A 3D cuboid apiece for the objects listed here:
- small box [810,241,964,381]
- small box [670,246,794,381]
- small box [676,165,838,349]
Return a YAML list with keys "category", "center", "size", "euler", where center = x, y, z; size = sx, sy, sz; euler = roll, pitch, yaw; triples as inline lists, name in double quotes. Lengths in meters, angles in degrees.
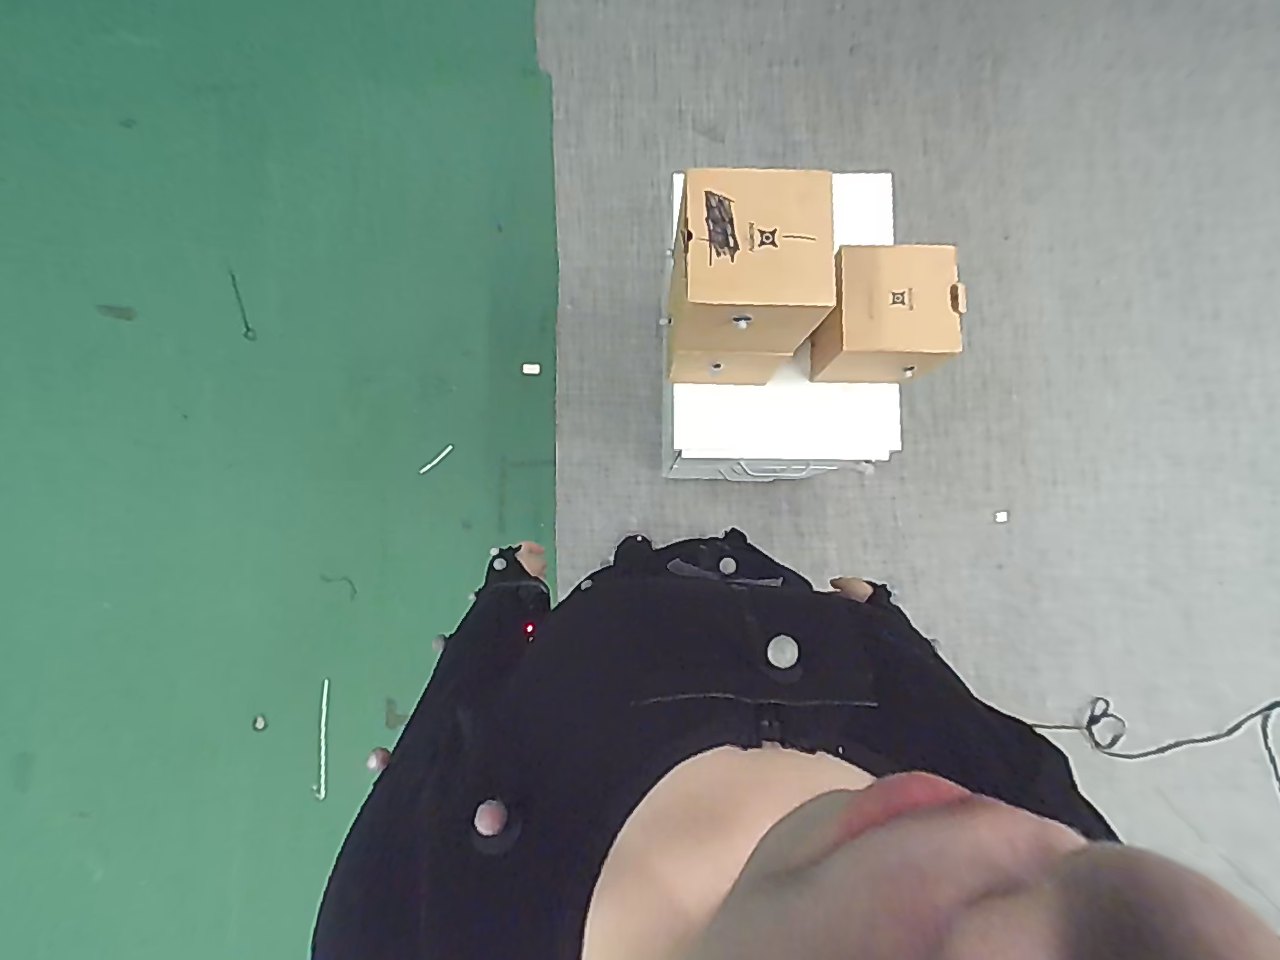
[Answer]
- category: "small box"
  center: [0.385, -0.262, 0.867]
  size: [0.179, 0.176, 0.168]
  euler: [1, 85, 2]
- category: "small box"
  center: [0.139, -0.259, 0.866]
  size: [0.179, 0.176, 0.168]
  euler: [1, 86, 0]
- category: "small box"
  center: [0.139, -0.276, 0.702]
  size: [0.179, 0.176, 0.168]
  euler: [1, 86, -2]
